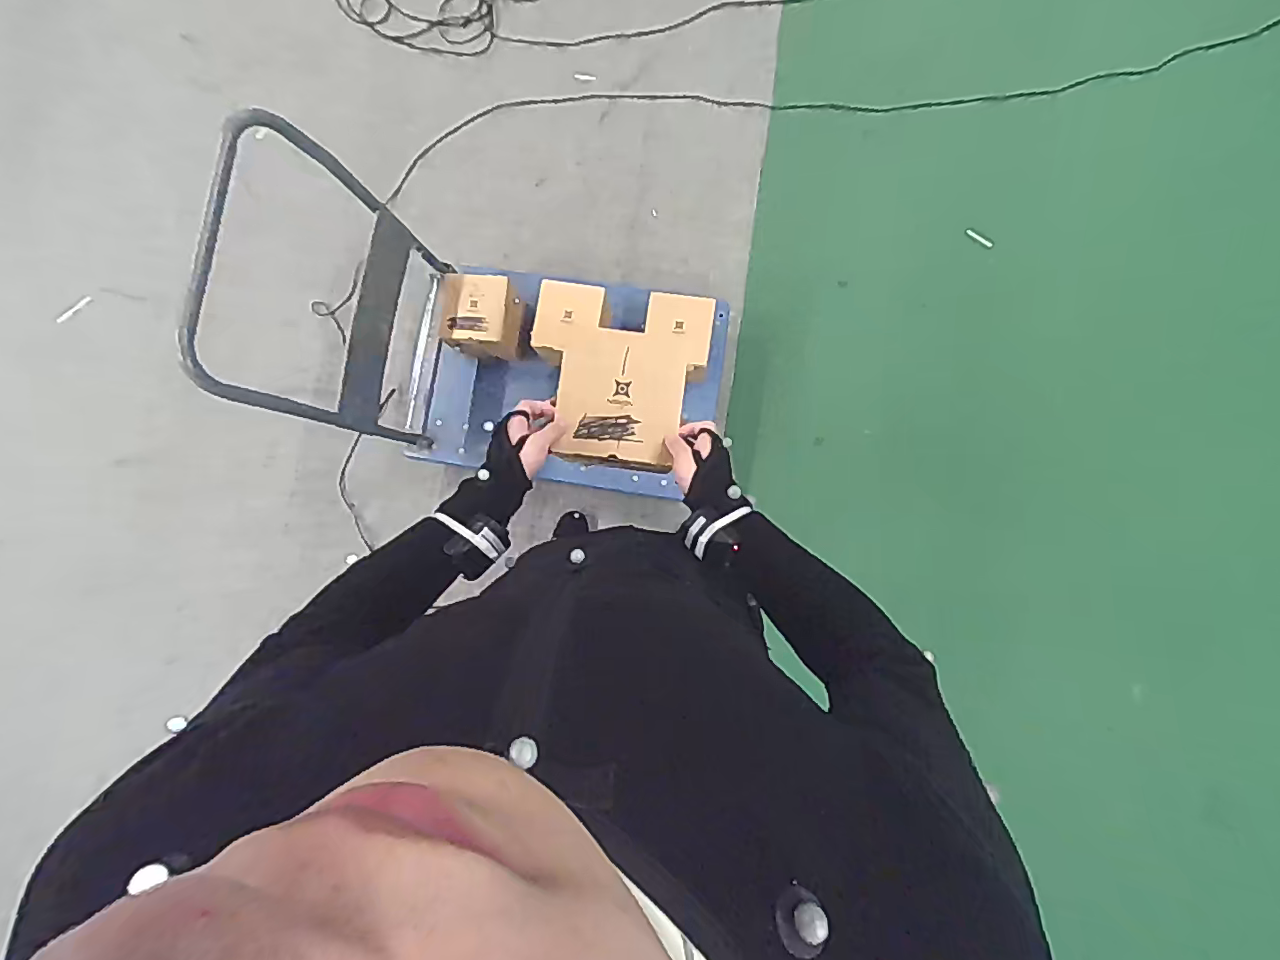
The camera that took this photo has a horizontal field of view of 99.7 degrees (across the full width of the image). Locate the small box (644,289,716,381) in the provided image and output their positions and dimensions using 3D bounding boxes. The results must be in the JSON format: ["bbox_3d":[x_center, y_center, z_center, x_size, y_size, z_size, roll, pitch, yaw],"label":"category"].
[{"bbox_3d":[0.100,-0.373,1.416,0.168,0.176,0.179,9,87,5],"label":"small box"}]

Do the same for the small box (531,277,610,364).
[{"bbox_3d":[-0.177,-0.413,1.439,0.168,0.176,0.179,9,88,4],"label":"small box"}]

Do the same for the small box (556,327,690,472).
[{"bbox_3d":[-0.023,-0.109,0.809,0.168,0.176,0.179,7,86,-1],"label":"small box"}]
